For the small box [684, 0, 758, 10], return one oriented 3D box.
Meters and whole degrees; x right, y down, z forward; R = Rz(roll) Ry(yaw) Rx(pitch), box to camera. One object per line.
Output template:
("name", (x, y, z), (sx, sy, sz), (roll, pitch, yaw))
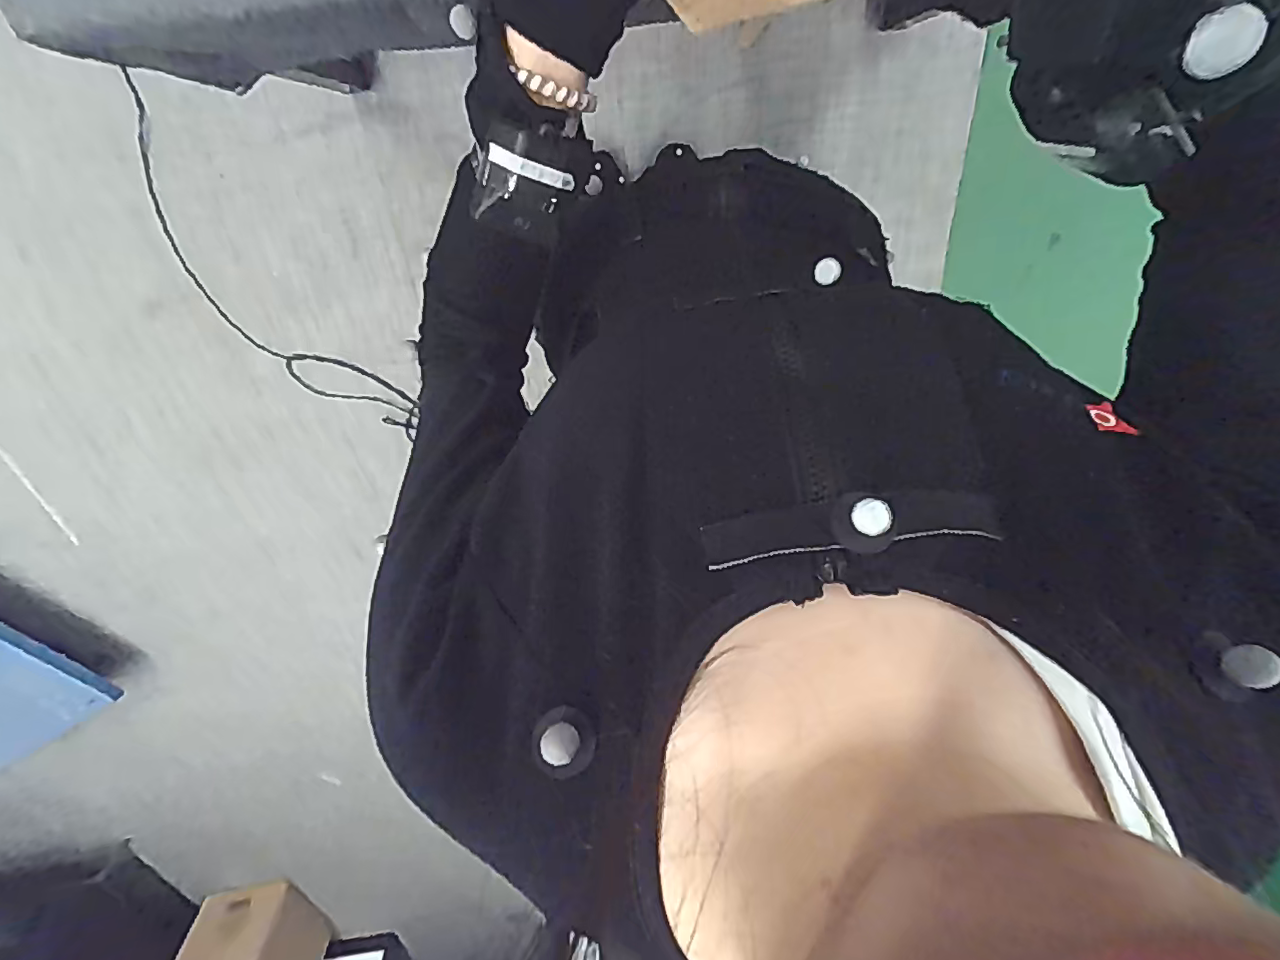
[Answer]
("small box", (0.048, -0.314, 0.181), (0.168, 0.176, 0.179), (30, 114, -31))
